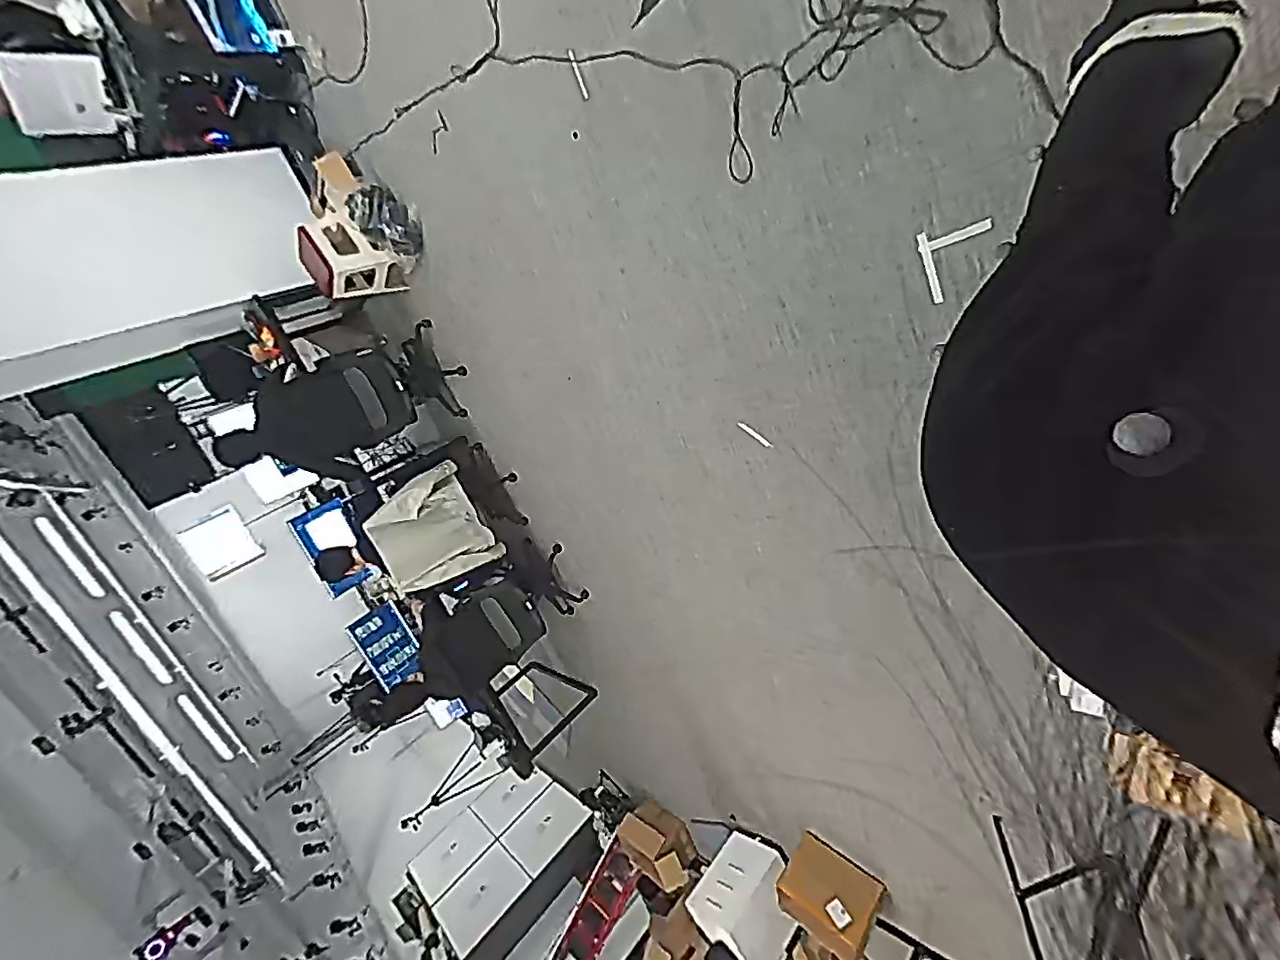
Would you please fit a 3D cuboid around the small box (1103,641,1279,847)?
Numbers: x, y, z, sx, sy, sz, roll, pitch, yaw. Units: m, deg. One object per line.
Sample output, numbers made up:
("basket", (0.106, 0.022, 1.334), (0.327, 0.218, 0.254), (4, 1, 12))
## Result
("small box", (0.792, 0.364, 0.781), (0.168, 0.176, 0.179), (2, 119, 49))
